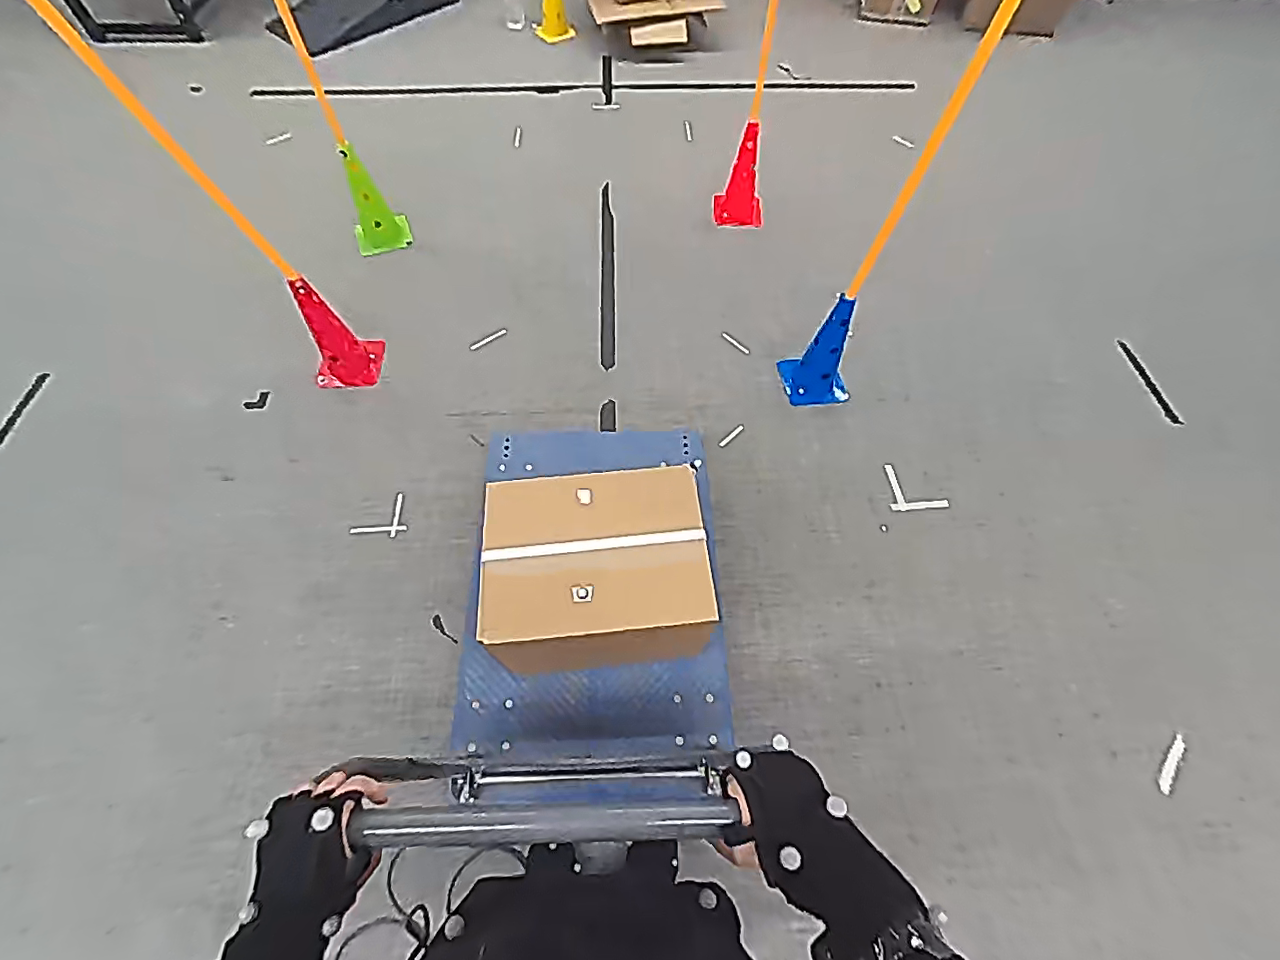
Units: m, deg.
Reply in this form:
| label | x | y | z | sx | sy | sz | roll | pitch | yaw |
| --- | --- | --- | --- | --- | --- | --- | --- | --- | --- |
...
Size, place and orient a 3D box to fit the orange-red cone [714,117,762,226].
| label | x | y | z | sx | sy | sz | roll | pitch | yaw |
| --- | --- | --- | --- | --- | --- | --- | --- | --- | --- |
| orange-red cone | 0.412 | -1.211 | 2.100 | 0.199 | 0.360 | 0.198 | 4 | 61 | 0 |

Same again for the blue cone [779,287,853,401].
| label | x | y | z | sx | sy | sz | roll | pitch | yaw |
| --- | --- | --- | --- | --- | --- | --- | --- | --- | --- |
| blue cone | 0.579 | -0.425 | 1.669 | 0.193 | 0.380 | 0.192 | -5 | 59 | -4 |
